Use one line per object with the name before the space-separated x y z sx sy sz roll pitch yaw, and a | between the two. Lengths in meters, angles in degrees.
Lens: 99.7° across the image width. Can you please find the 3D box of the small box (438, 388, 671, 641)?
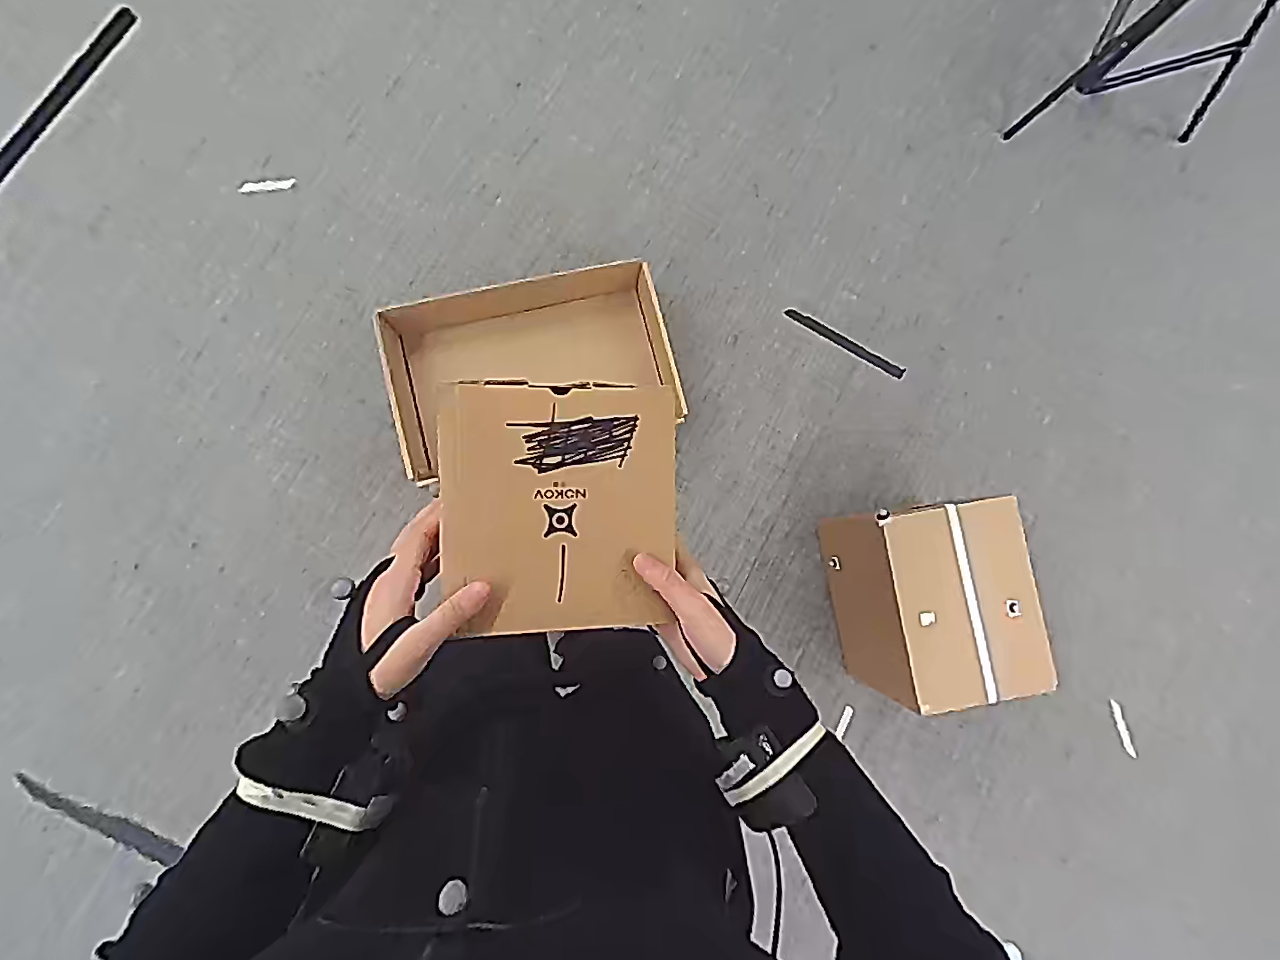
small box | -0.074 0.022 0.462 0.168 0.176 0.179 -1 92 -11
